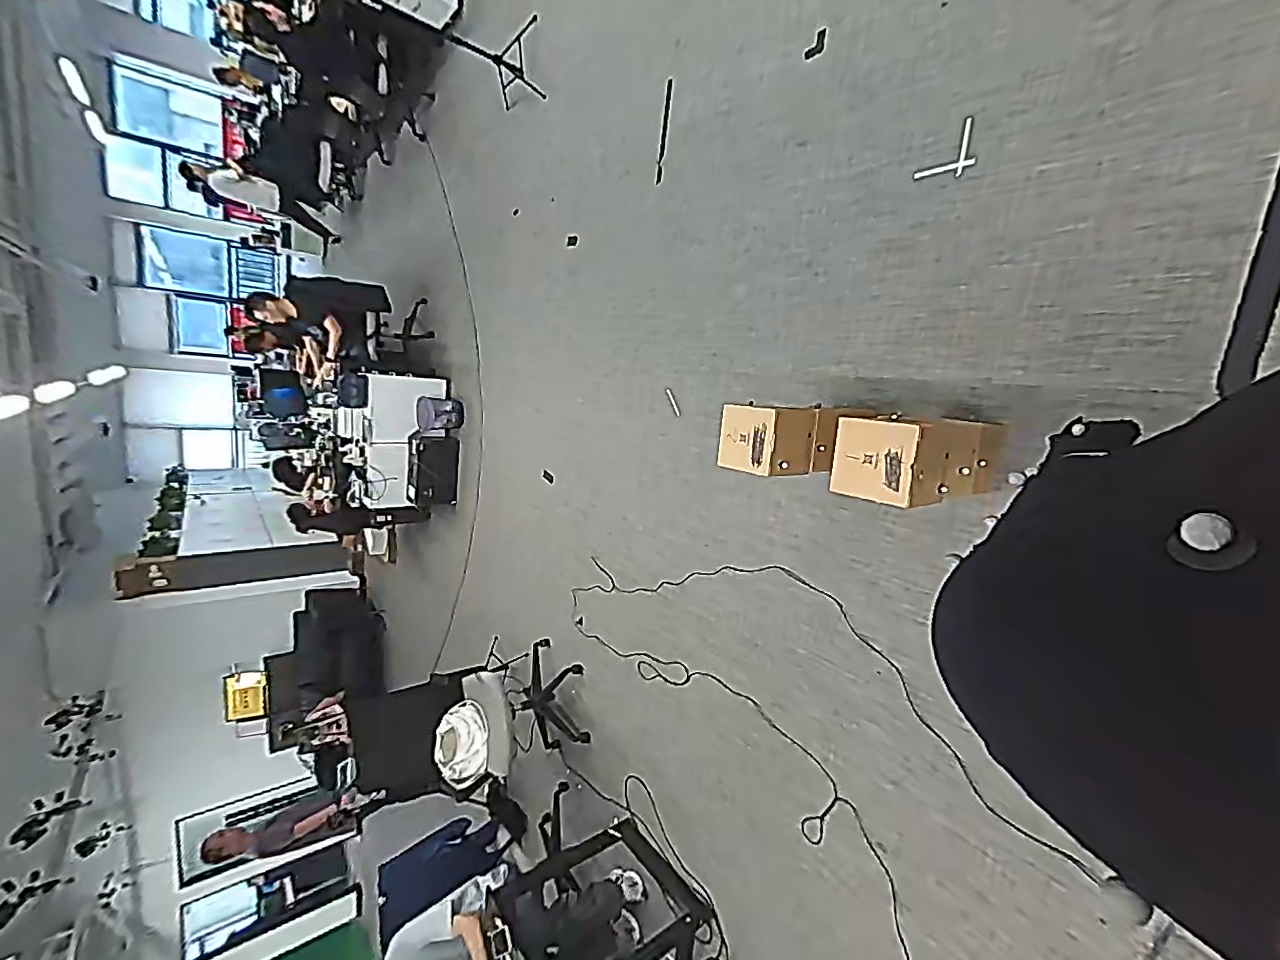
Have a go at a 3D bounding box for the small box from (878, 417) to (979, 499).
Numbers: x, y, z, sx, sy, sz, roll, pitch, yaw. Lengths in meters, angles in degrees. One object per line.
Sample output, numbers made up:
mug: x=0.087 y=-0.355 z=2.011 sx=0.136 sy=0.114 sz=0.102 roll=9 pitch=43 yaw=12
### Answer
small box: x=0.663 y=-0.058 z=1.268 sx=0.179 sy=0.176 sz=0.168 roll=15 pitch=105 yaw=49

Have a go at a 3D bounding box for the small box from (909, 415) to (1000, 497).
small box: x=0.784 y=-0.066 z=1.376 sx=0.168 sy=0.176 sz=0.179 roll=21 pitch=108 yaw=48

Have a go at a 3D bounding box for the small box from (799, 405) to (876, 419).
small box: x=0.584 y=-0.130 z=1.618 sx=0.168 sy=0.176 sz=0.179 roll=16 pitch=104 yaw=49

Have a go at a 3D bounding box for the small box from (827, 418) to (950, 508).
small box: x=0.536 y=-0.044 z=1.165 sx=0.179 sy=0.176 sz=0.168 roll=17 pitch=106 yaw=50

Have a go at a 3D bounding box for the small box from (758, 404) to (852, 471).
small box: x=0.459 y=-0.120 z=1.511 sx=0.179 sy=0.176 sz=0.168 roll=16 pitch=105 yaw=51
